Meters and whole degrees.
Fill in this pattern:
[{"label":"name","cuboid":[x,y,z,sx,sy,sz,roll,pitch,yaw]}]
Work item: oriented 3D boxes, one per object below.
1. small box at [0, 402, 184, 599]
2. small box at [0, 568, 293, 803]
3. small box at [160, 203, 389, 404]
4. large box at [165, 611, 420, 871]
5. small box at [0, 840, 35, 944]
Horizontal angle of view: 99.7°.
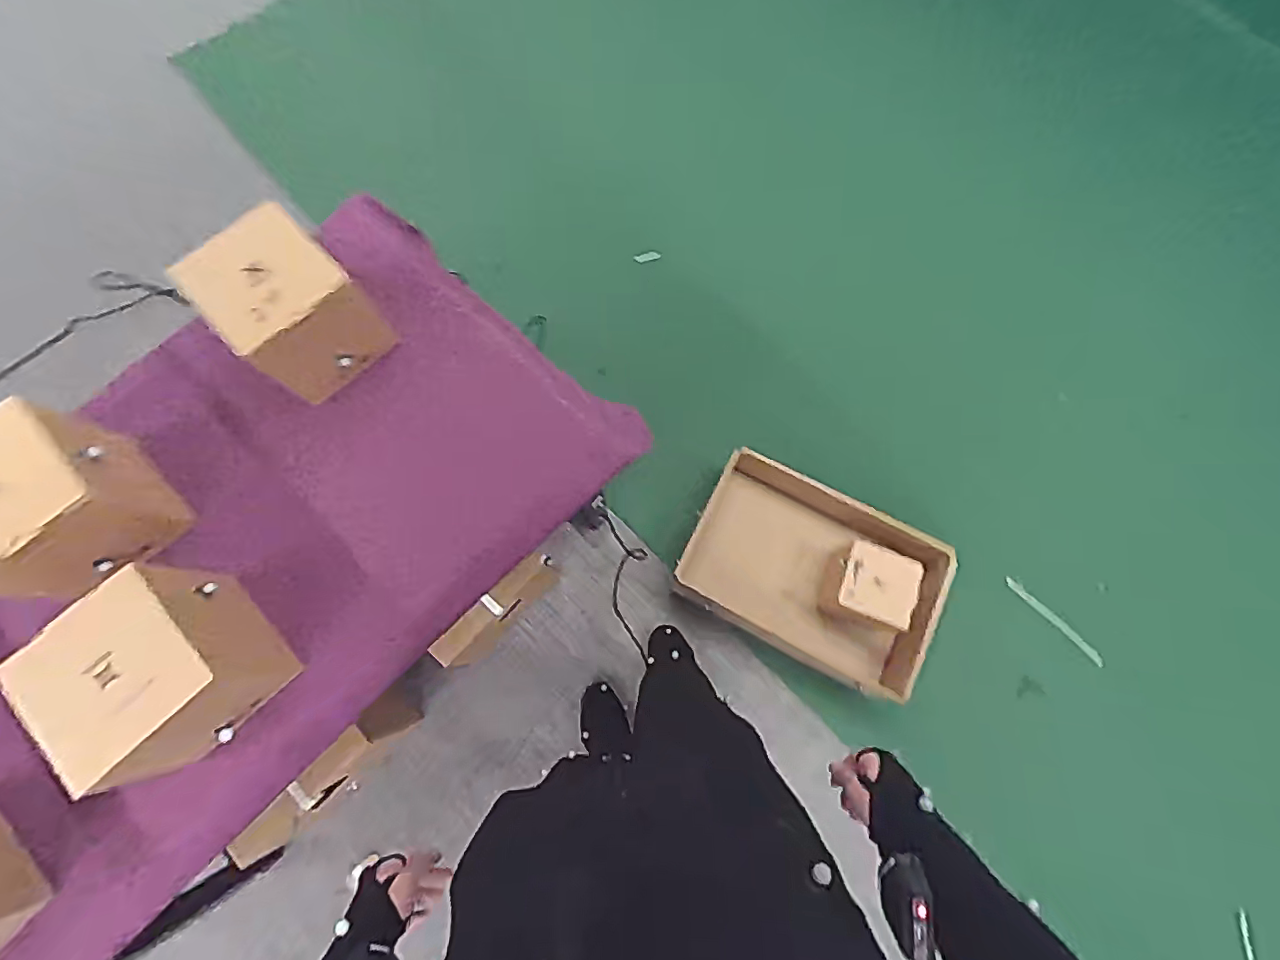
[{"label":"small box","cuboid":[-0.759,0.039,0.694,0.168,0.176,0.179,-43,81,-12]},{"label":"small box","cuboid":[-0.570,0.232,0.642,0.168,0.176,0.179,-44,79,-11]},{"label":"small box","cuboid":[-0.505,-0.240,0.775,0.179,0.176,0.168,44,79,9]},{"label":"large box","cuboid":[-0.796,0.554,1.233,0.408,0.320,0.320,42,77,11]},{"label":"small box","cuboid":[-0.820,0.483,0.563,0.179,0.176,0.168,41,77,11]}]
